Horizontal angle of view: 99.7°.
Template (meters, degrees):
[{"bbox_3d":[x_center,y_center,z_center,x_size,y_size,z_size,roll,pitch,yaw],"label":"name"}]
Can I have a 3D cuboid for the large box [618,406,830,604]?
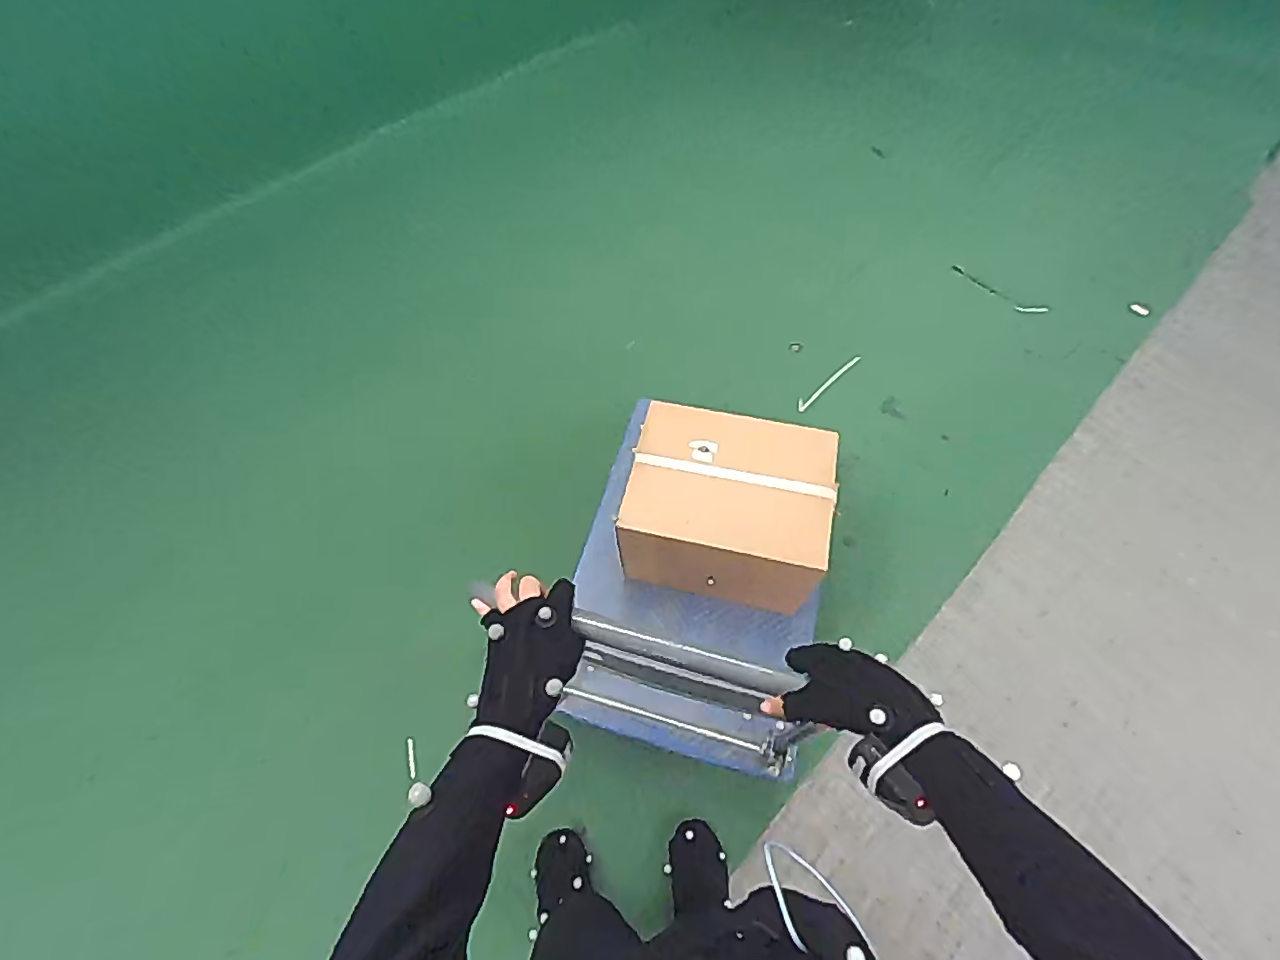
[{"bbox_3d":[0.189,0.066,1.234,0.408,0.320,0.320,10,61,9],"label":"large box"}]
